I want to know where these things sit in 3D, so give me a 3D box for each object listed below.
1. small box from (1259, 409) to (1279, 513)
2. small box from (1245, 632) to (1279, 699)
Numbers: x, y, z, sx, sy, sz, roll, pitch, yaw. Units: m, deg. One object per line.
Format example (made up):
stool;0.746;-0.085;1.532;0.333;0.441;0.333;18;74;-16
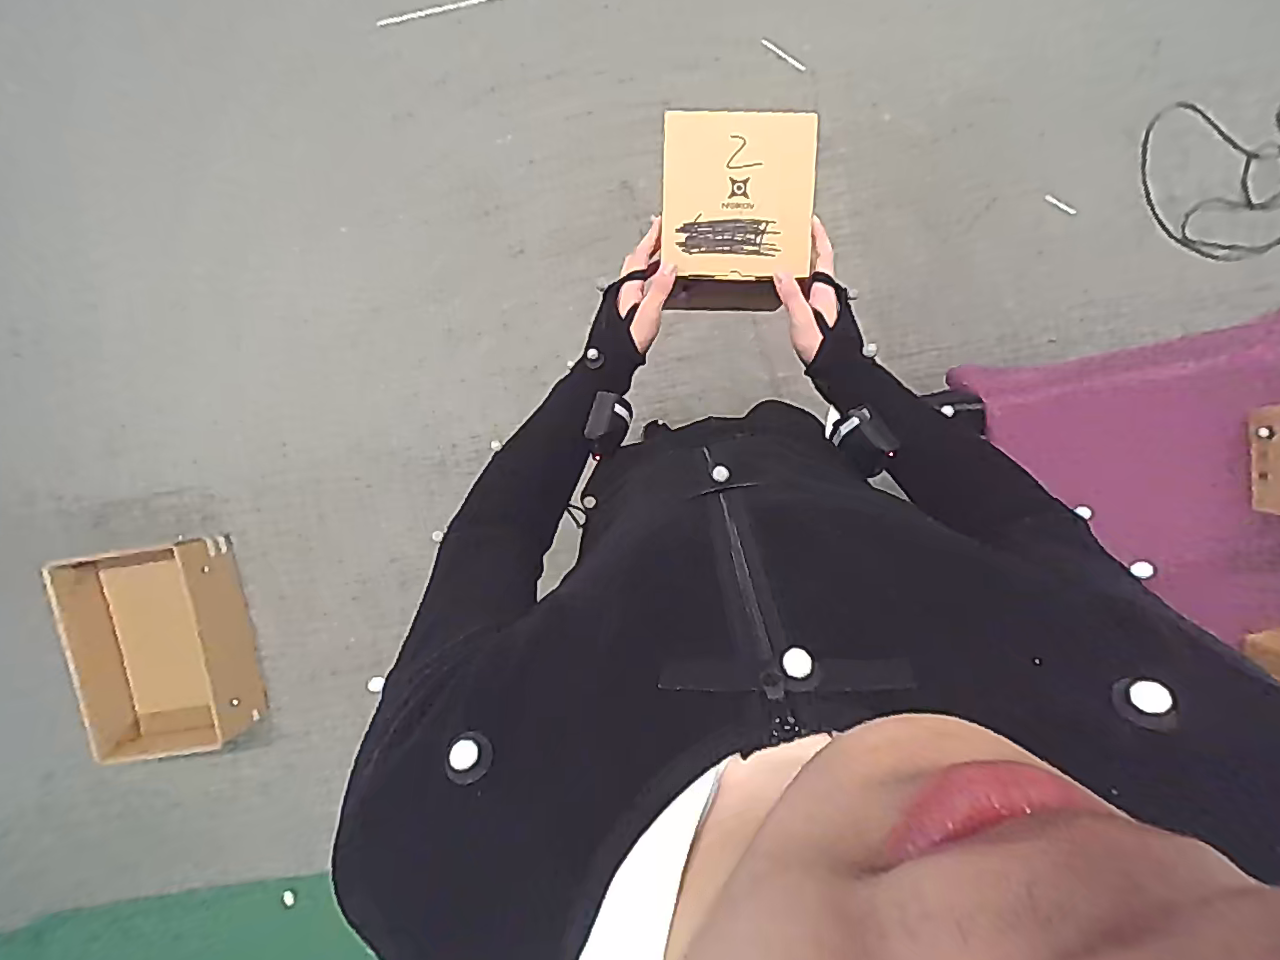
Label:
small box;1.067;-0.031;0.782;0.179;0.176;0.168;-8;96;3
small box;1.101;0.333;0.823;0.179;0.176;0.168;-10;95;3
